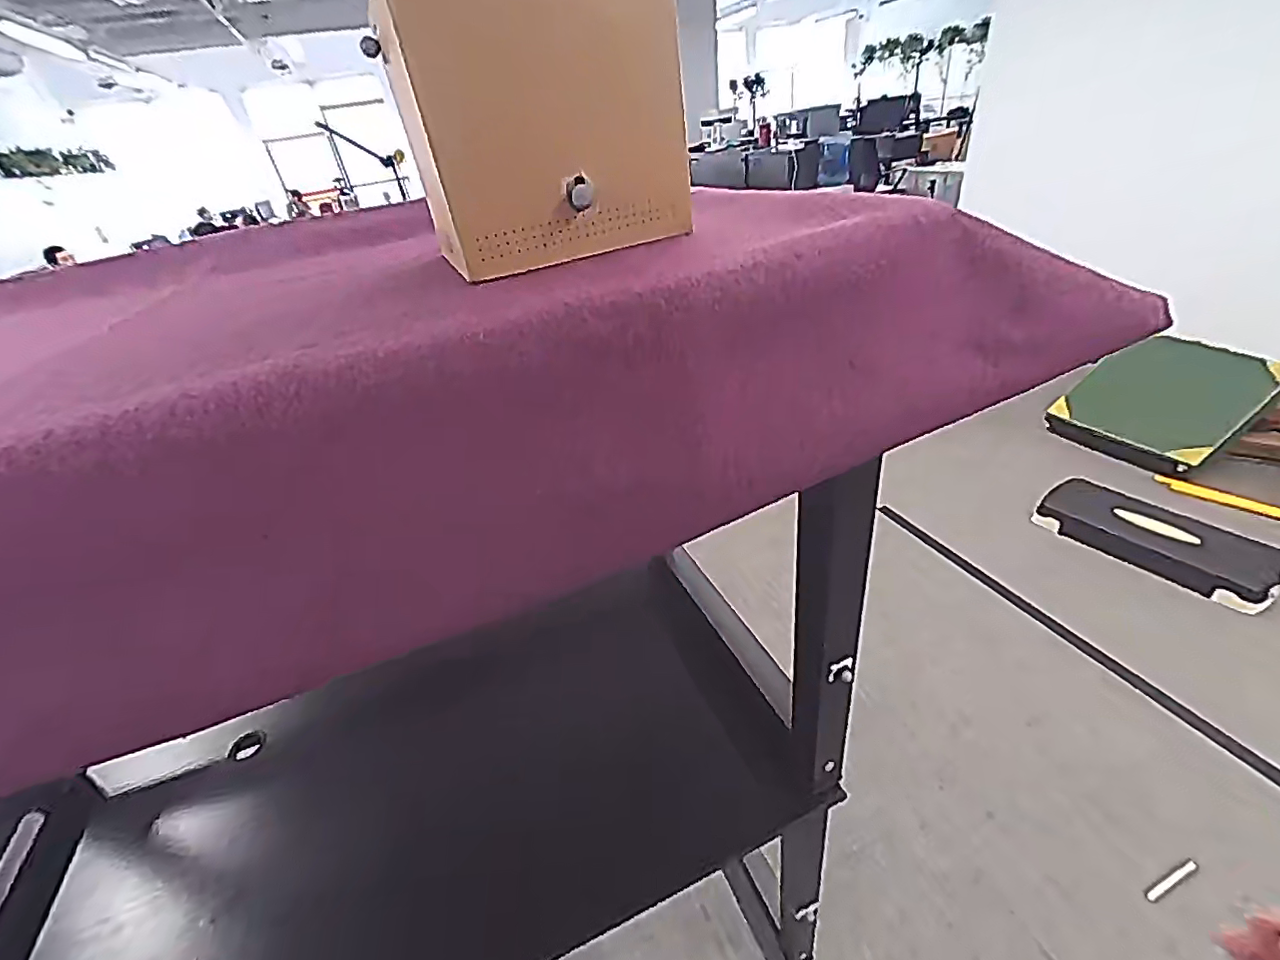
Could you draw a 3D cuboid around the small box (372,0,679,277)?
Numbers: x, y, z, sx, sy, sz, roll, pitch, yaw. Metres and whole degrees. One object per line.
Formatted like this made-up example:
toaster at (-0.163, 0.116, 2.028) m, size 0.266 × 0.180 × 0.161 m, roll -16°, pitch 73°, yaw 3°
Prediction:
small box at (-0.080, -0.267, 0.407) m, size 0.179 × 0.176 × 0.168 m, roll -20°, pitch 34°, yaw -16°
